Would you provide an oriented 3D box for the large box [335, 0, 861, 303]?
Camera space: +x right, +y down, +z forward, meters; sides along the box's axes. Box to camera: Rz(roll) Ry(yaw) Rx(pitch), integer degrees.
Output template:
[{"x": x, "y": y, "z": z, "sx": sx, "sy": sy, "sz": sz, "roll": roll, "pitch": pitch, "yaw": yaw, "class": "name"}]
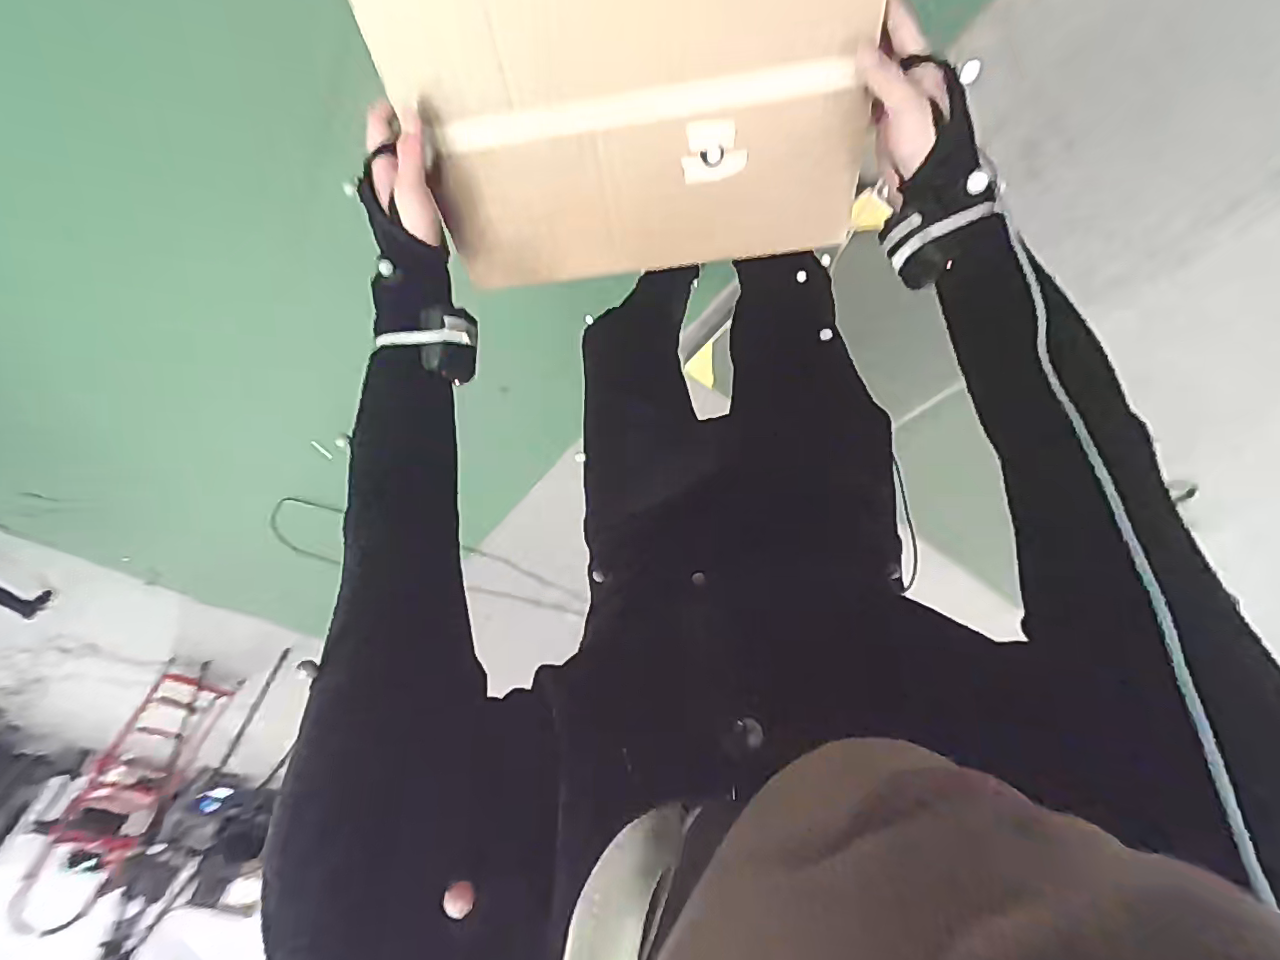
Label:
[{"x": -0.023, "y": -0.433, "z": 0.568, "sx": 0.408, "sy": 0.320, "sz": 0.320, "roll": -7, "pitch": 142, "yaw": 6, "class": "large box"}]
